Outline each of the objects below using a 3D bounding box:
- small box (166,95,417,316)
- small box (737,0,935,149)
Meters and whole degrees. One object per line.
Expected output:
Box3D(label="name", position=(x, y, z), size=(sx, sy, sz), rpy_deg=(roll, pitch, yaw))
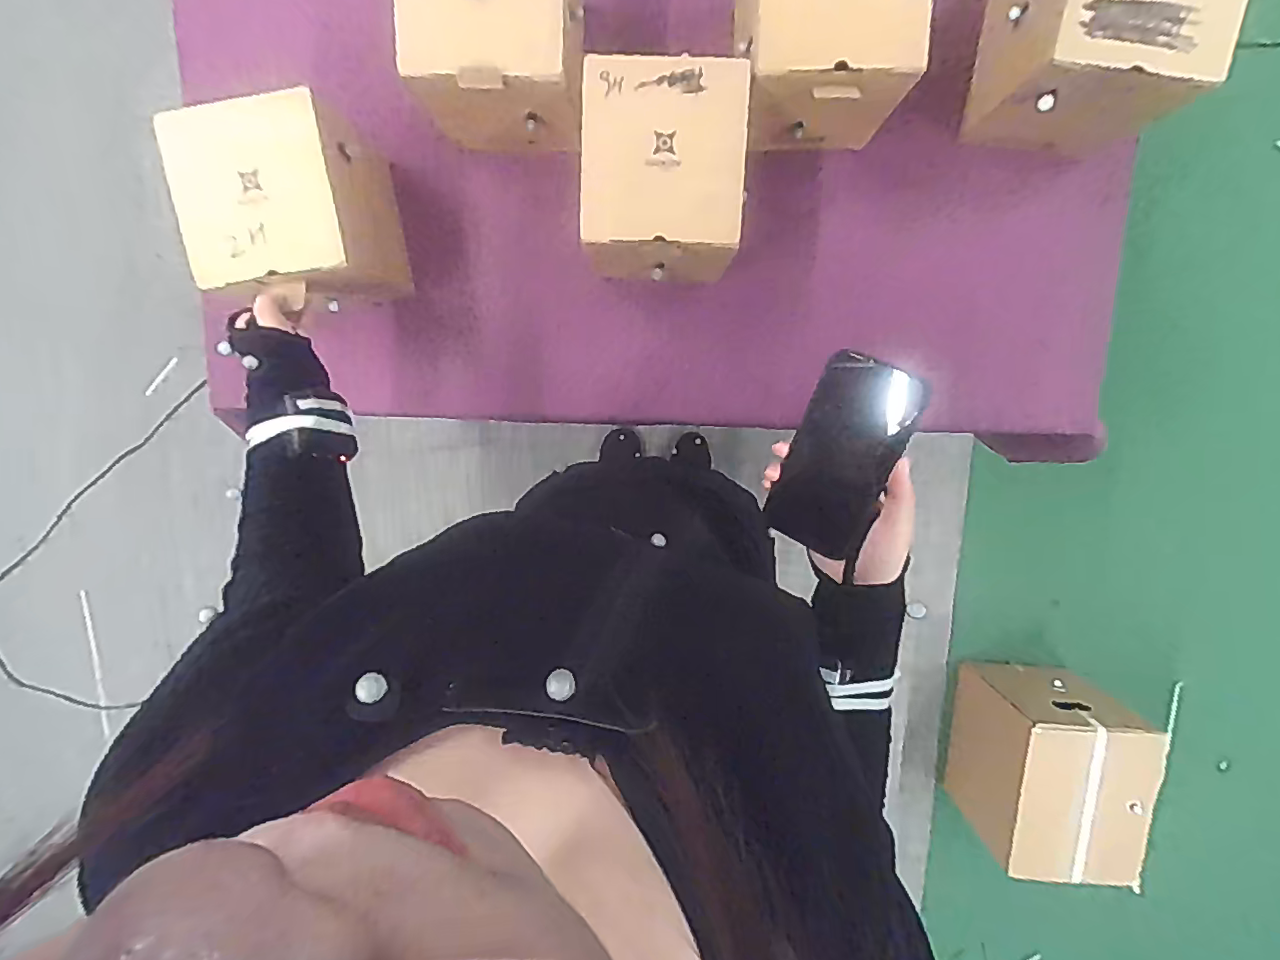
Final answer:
Box3D(label="small box", position=(-0.387, -0.303, 0.634), size=(0.168, 0.176, 0.179), rpy_deg=(-7, 99, 3))
Box3D(label="small box", position=(0.200, -0.491, 0.589), size=(0.168, 0.176, 0.179), rpy_deg=(0, 100, 2))
